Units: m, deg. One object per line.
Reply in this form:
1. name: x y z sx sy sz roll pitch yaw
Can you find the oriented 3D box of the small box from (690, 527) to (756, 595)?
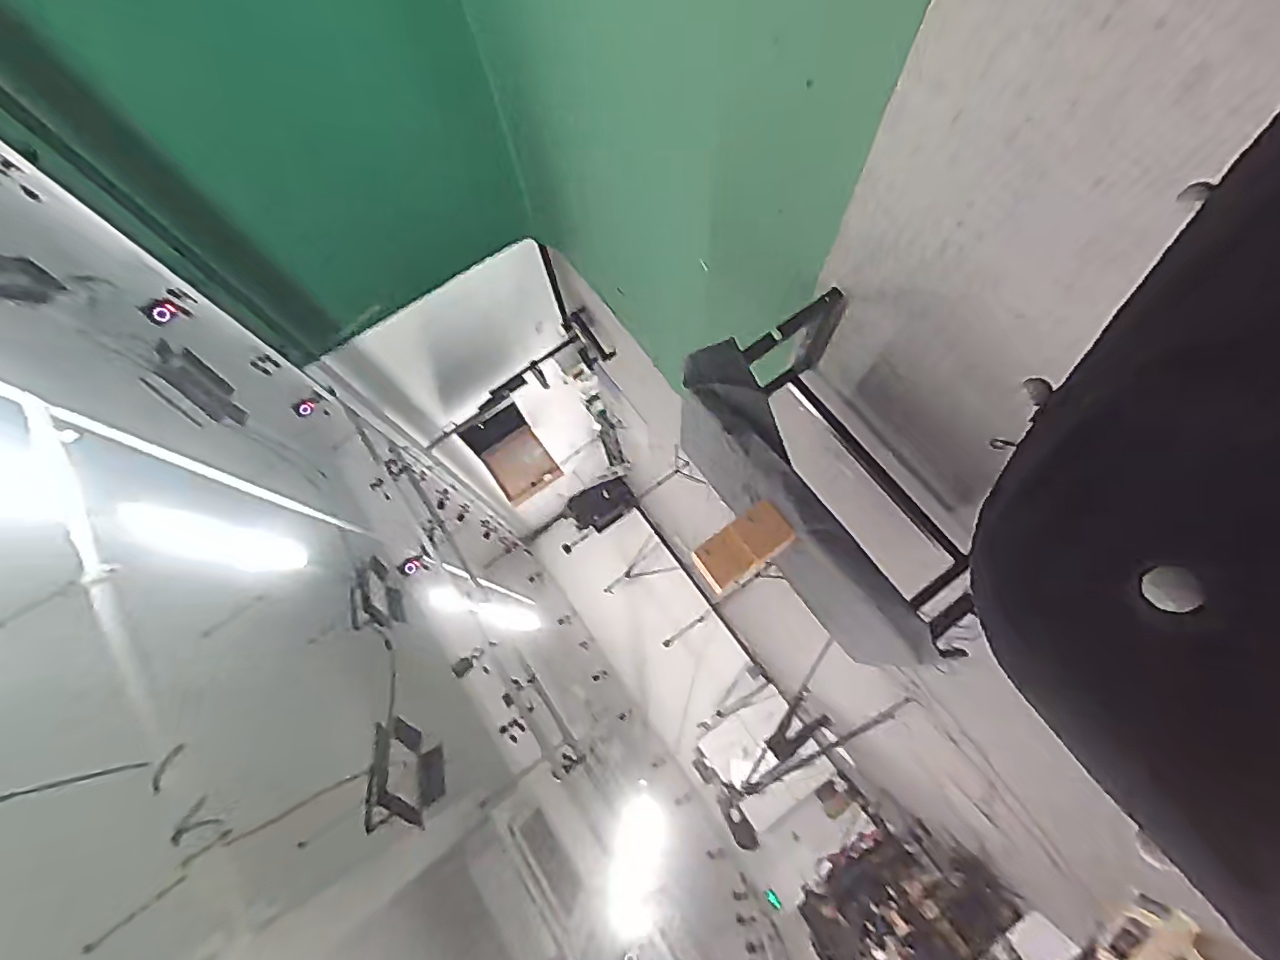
1. small box: 0.304 0.298 1.994 0.179 0.176 0.168 54 172 17
